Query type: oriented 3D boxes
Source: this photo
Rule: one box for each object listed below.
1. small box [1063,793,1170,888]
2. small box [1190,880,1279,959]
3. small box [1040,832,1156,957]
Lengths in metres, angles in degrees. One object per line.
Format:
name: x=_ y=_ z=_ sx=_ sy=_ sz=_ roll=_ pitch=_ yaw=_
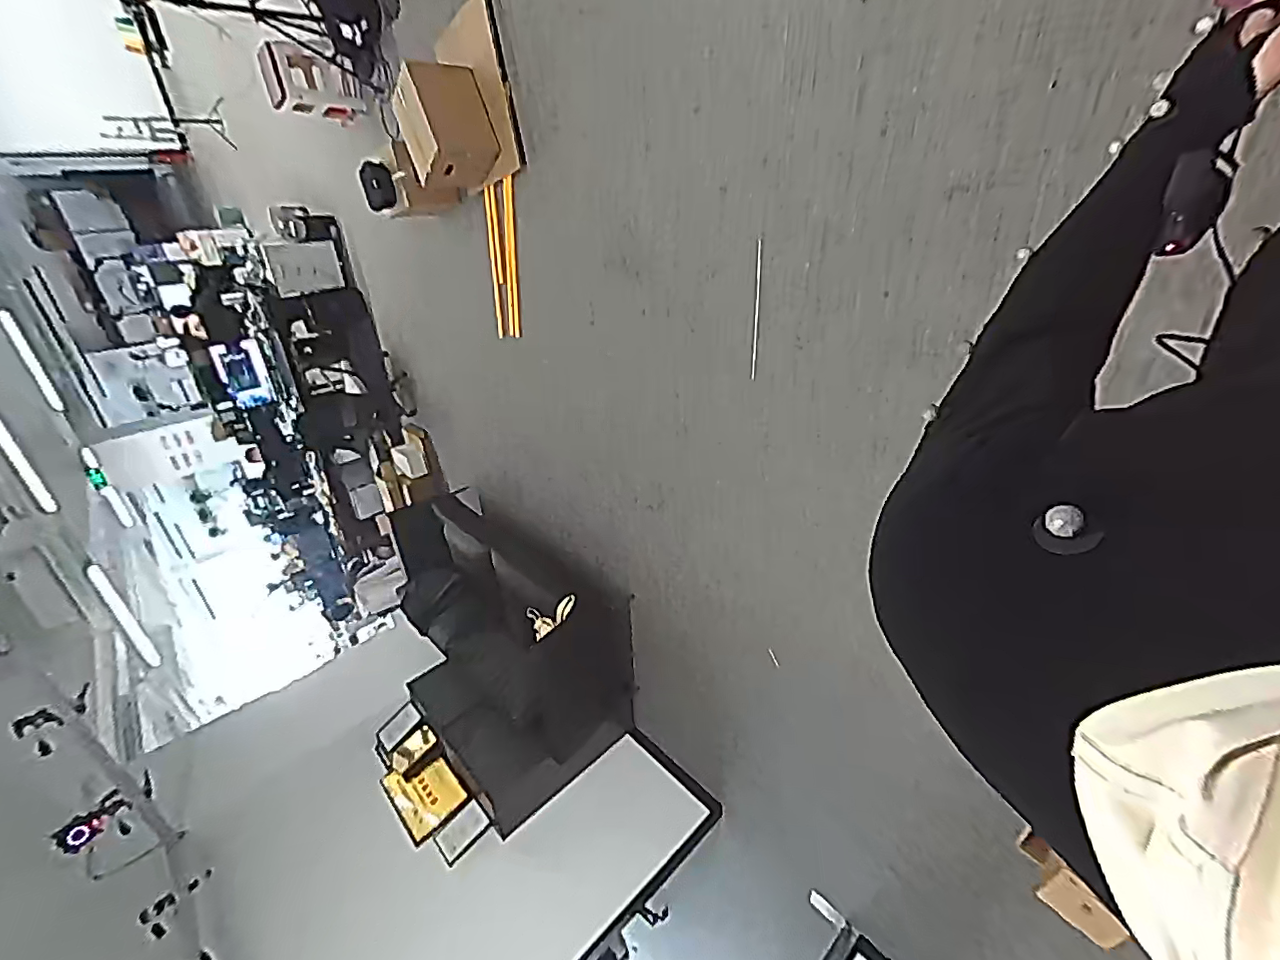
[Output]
small box: x=1.332 y=1.031 z=1.514 sx=0.168 sy=0.176 sz=0.179 roll=31 pitch=133 yaw=38
small box: x=1.528 y=1.152 z=1.338 sx=0.168 sy=0.176 sz=0.179 roll=31 pitch=134 yaw=38
small box: x=1.206 y=1.084 z=1.423 sx=0.168 sy=0.176 sz=0.179 roll=32 pitch=134 yaw=37
